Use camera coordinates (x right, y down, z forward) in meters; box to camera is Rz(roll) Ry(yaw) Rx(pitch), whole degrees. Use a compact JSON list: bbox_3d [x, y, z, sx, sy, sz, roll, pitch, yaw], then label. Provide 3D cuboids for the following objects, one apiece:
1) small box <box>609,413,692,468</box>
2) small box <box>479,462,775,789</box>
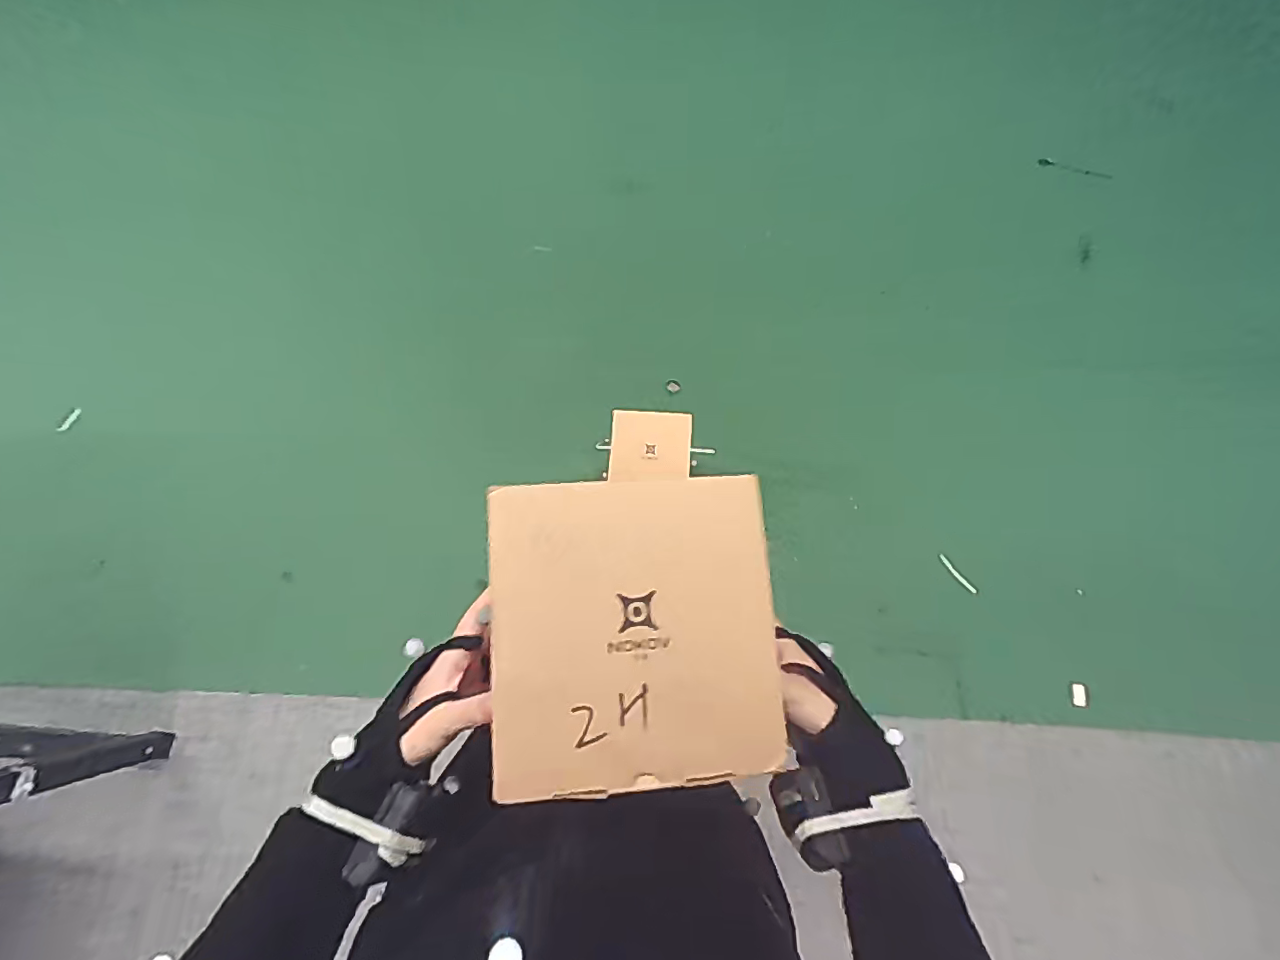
[{"bbox_3d":[0.022,-0.031,1.176,0.168,0.176,0.179,3,75,2],"label":"small box"},{"bbox_3d":[-0.019,0.095,0.391,0.168,0.176,0.179,-4,77,-7],"label":"small box"}]
